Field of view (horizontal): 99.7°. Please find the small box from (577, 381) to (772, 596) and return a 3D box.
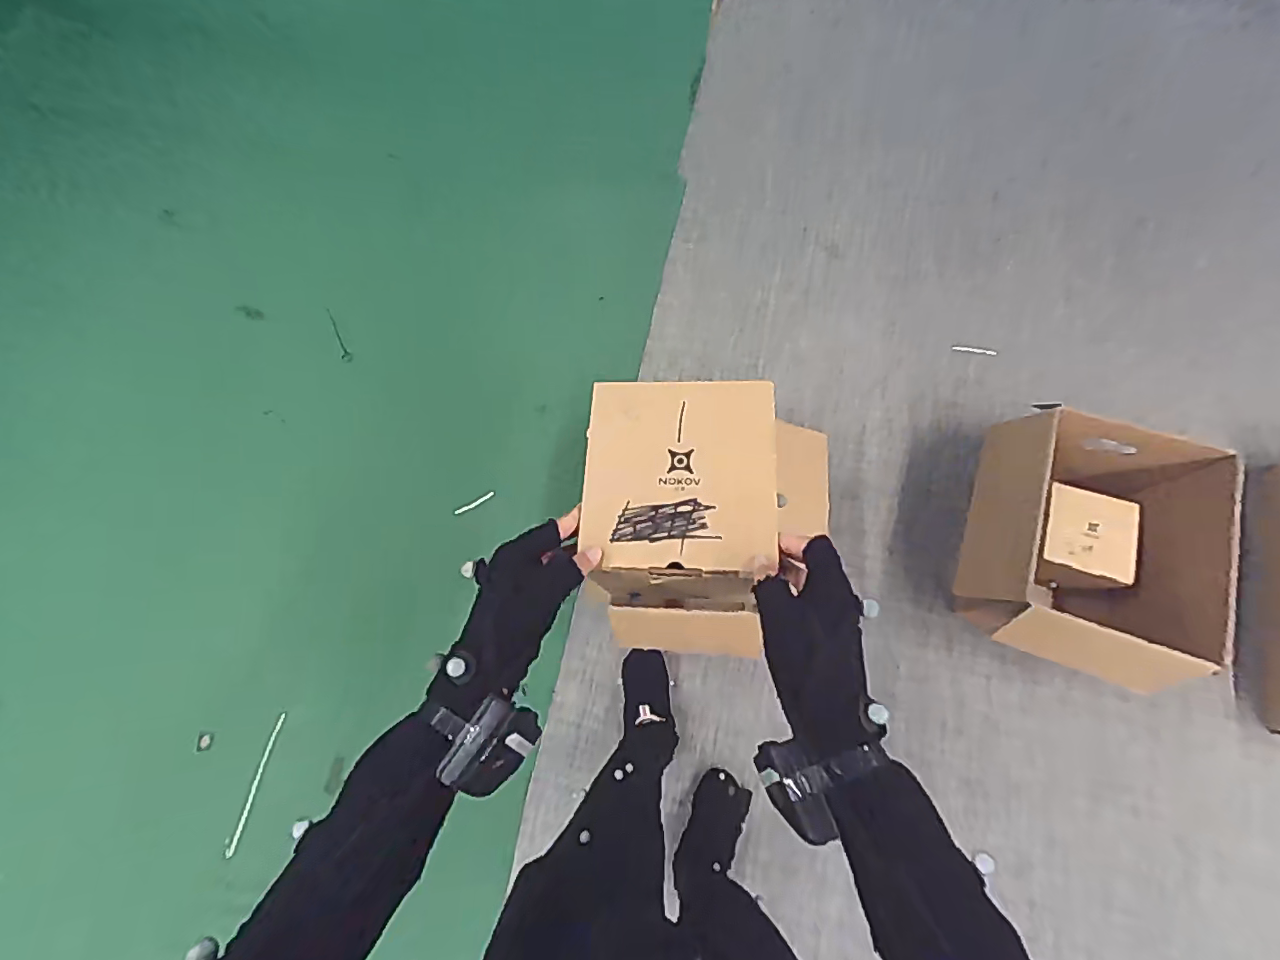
[{"bbox_3d":[0.043,0.018,0.545,0.168,0.176,0.179,1,70,8],"label":"small box"}]
